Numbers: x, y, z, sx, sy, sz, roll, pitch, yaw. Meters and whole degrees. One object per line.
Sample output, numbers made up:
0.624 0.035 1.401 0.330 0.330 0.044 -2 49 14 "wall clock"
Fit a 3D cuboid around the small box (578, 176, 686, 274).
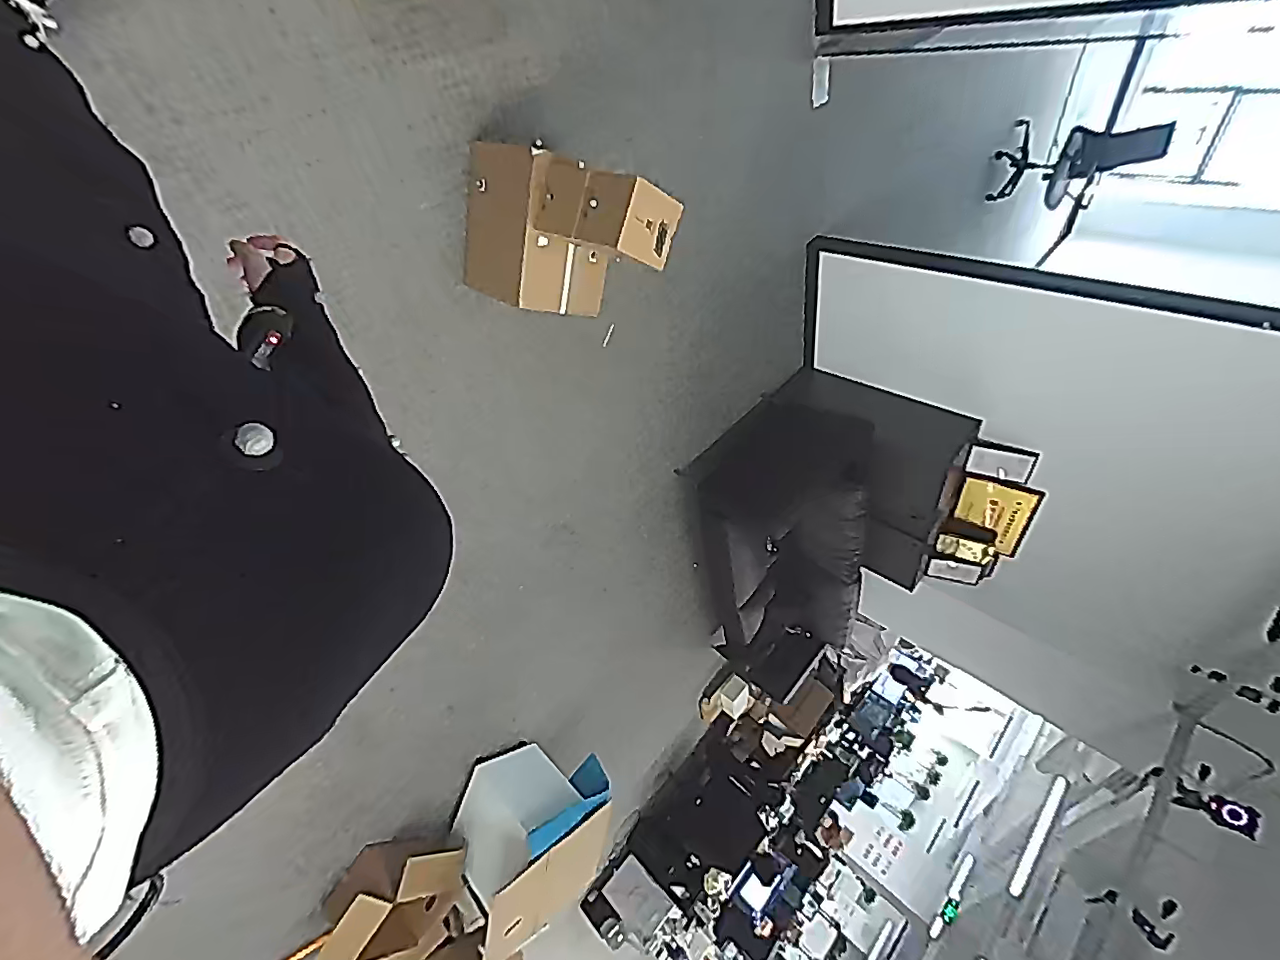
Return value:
-0.022 -0.635 1.342 0.179 0.176 0.168 2 114 -49 "small box"
